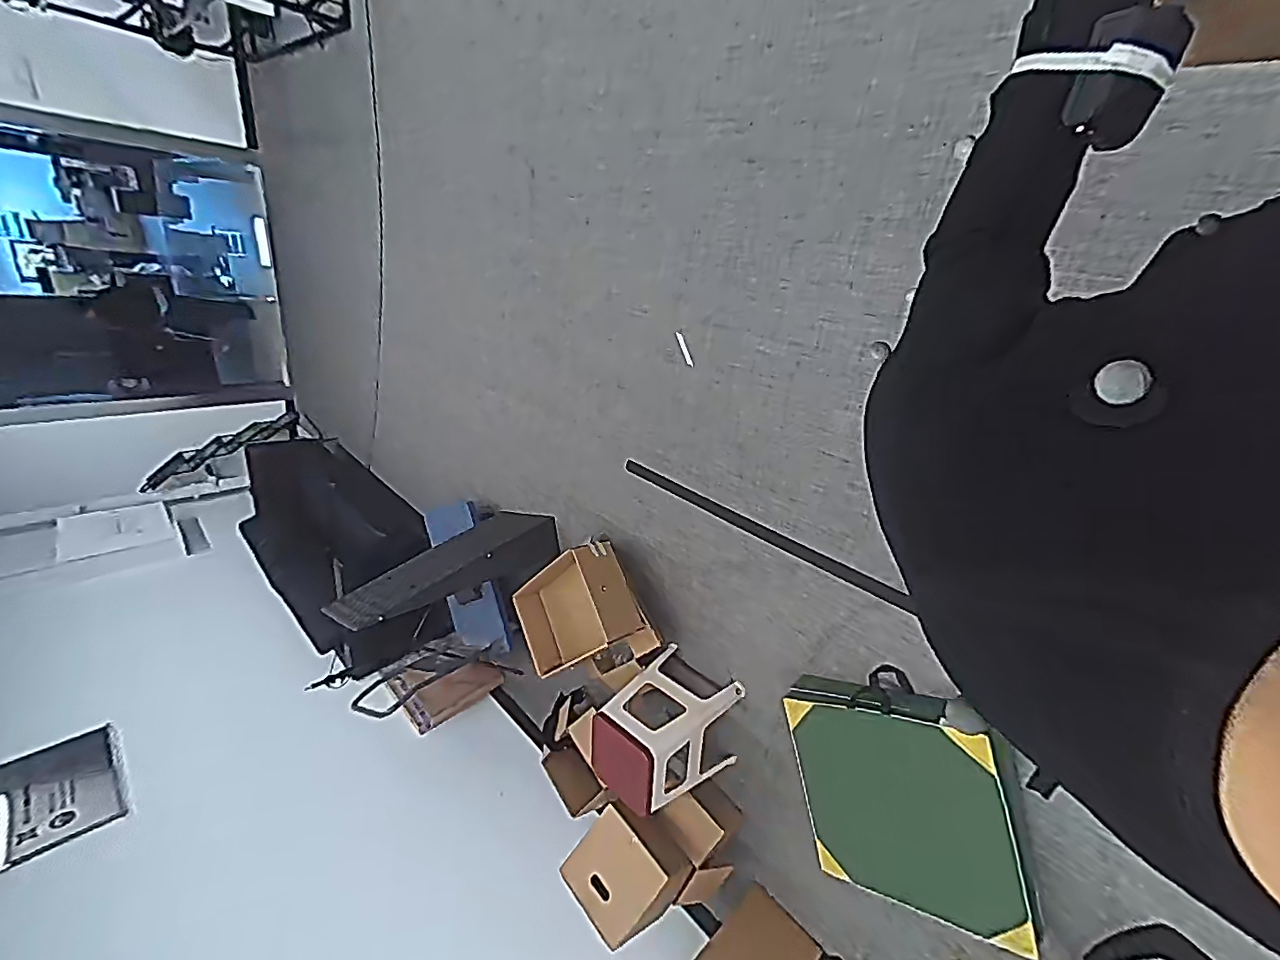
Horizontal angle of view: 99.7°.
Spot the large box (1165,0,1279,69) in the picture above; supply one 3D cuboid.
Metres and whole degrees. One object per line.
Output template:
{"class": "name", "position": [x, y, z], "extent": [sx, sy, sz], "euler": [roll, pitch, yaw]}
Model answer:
{"class": "large box", "position": [0.580, -0.433, 0.257], "extent": [0.408, 0.320, 0.320], "euler": [25, 127, 37]}
